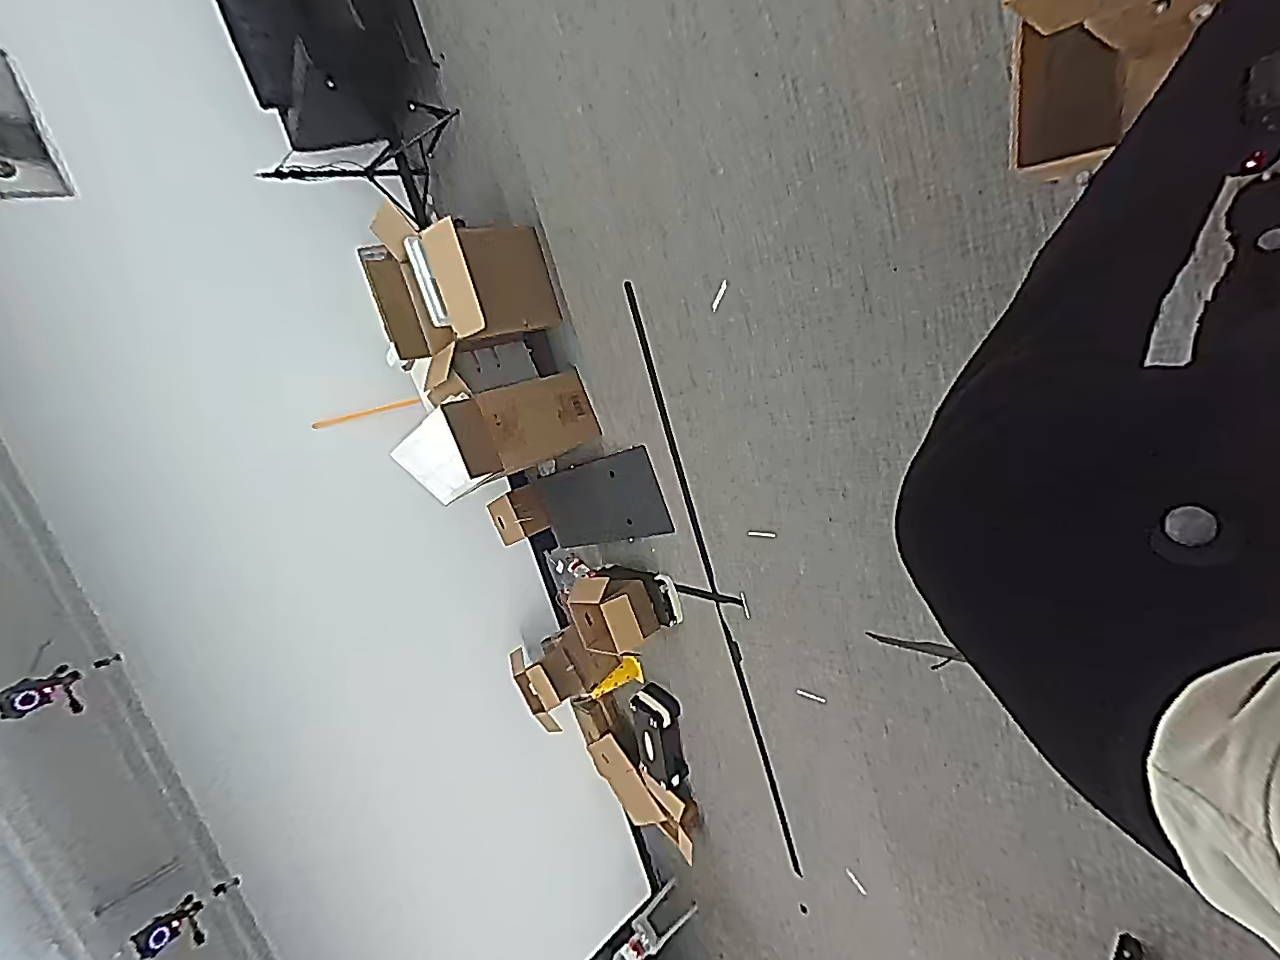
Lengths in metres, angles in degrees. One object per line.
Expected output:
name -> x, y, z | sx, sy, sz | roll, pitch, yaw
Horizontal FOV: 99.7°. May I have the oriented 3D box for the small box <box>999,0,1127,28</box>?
small box -> 0.465, -0.569, 0.505 | 0.179, 0.176, 0.168 | 11, 117, 48
